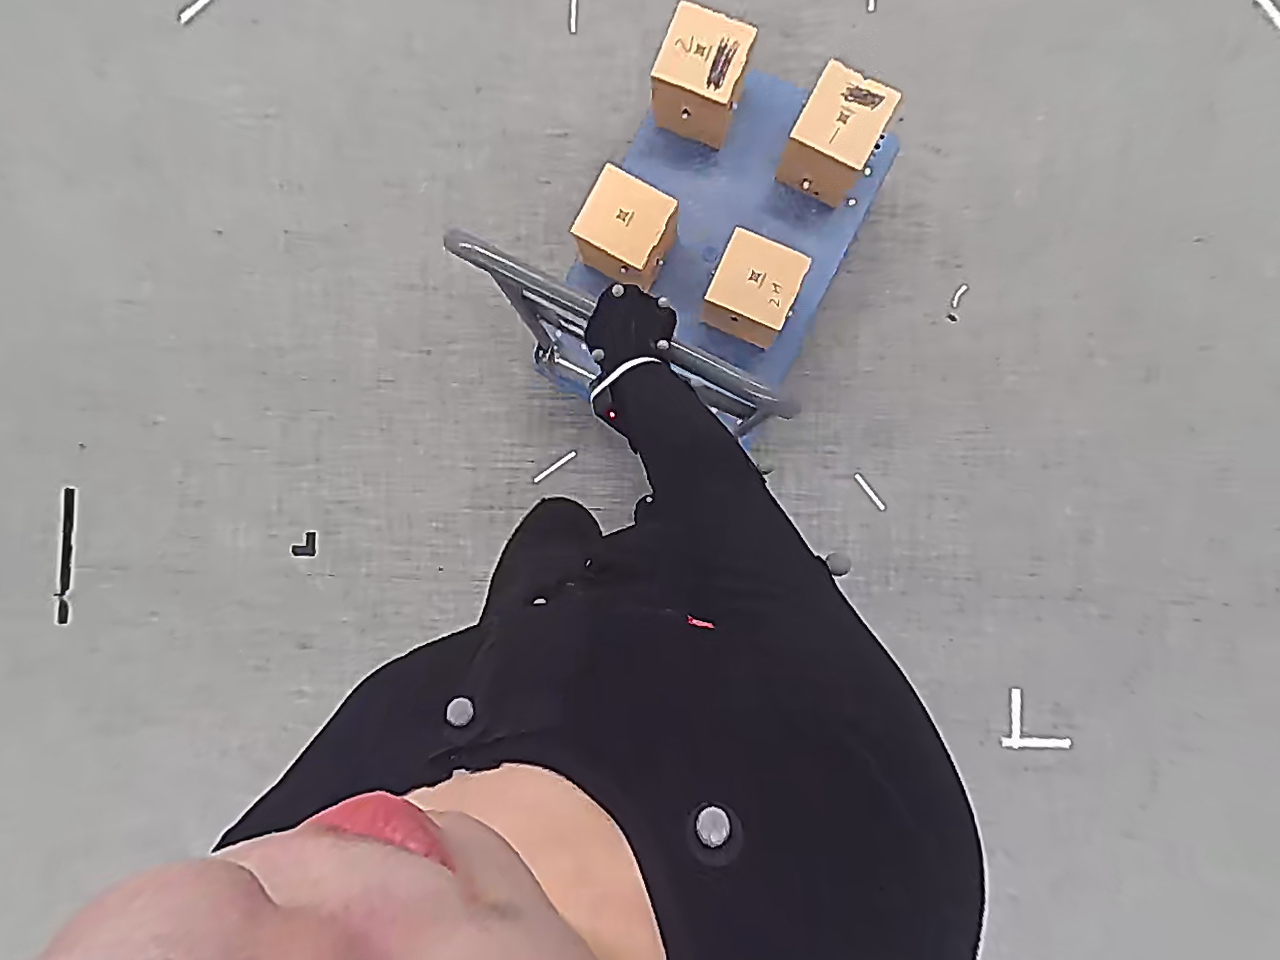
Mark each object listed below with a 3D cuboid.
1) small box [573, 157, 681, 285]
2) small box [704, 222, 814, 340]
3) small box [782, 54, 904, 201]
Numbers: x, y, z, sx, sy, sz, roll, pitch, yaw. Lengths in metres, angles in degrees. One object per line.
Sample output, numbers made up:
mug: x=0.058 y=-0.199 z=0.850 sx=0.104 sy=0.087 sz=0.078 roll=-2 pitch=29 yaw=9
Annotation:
small box: x=-0.026 y=-0.566 z=1.210 sx=0.179 sy=0.176 sz=0.168 roll=29 pitch=92 yaw=0
small box: x=0.252 y=-0.428 z=1.198 sx=0.179 sy=0.176 sz=0.168 roll=25 pitch=93 yaw=2
small box: x=0.429 y=-0.757 z=1.180 sx=0.168 sy=0.176 sz=0.179 roll=29 pitch=94 yaw=2
